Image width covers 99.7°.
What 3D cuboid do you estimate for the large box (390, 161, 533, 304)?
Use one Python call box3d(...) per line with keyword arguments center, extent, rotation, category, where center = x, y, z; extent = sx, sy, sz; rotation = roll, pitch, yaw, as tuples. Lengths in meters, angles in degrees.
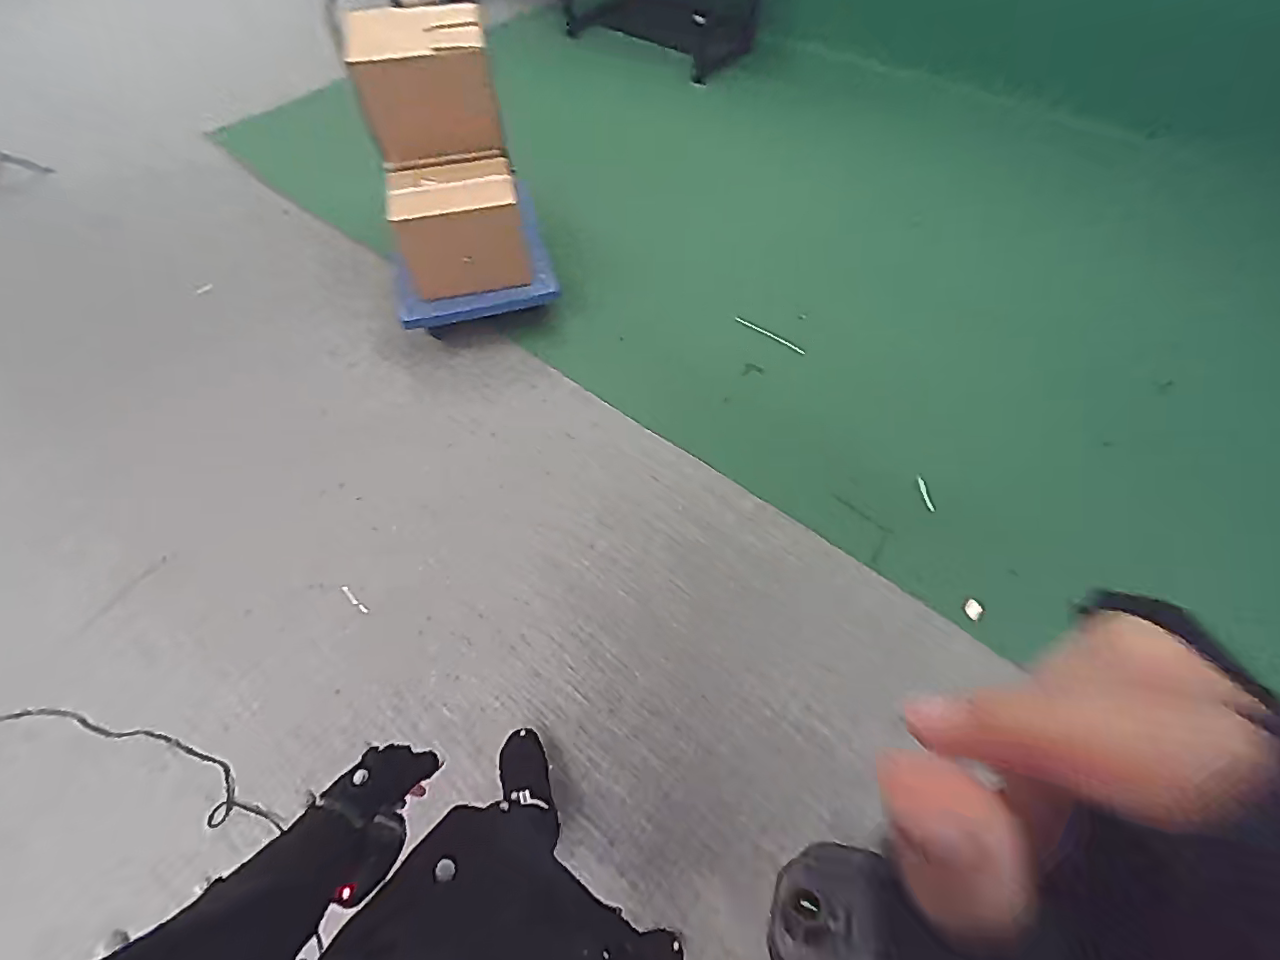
box3d(center=(-0.625, -0.878, 1.924), extent=(0.408, 0.320, 0.320), rotation=(-13, 56, -6), category="large box")
